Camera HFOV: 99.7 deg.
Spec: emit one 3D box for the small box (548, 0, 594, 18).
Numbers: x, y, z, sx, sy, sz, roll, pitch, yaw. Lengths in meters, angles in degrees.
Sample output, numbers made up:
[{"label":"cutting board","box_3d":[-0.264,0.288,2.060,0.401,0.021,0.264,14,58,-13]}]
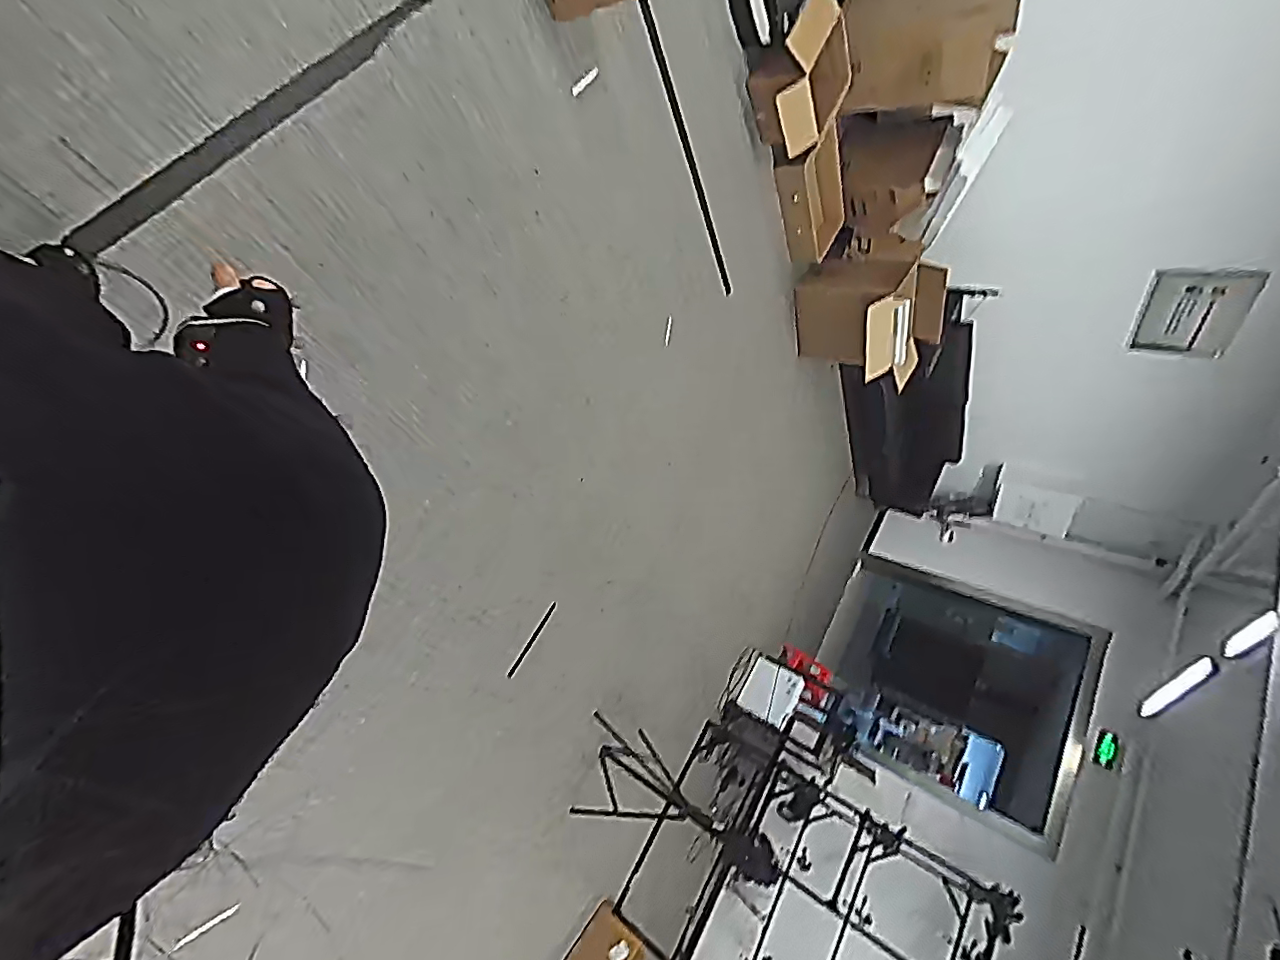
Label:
[{"label":"small box","box_3d":[-0.188,-1.510,1.590,0.179,0.176,0.168,-57,142,-19]}]
